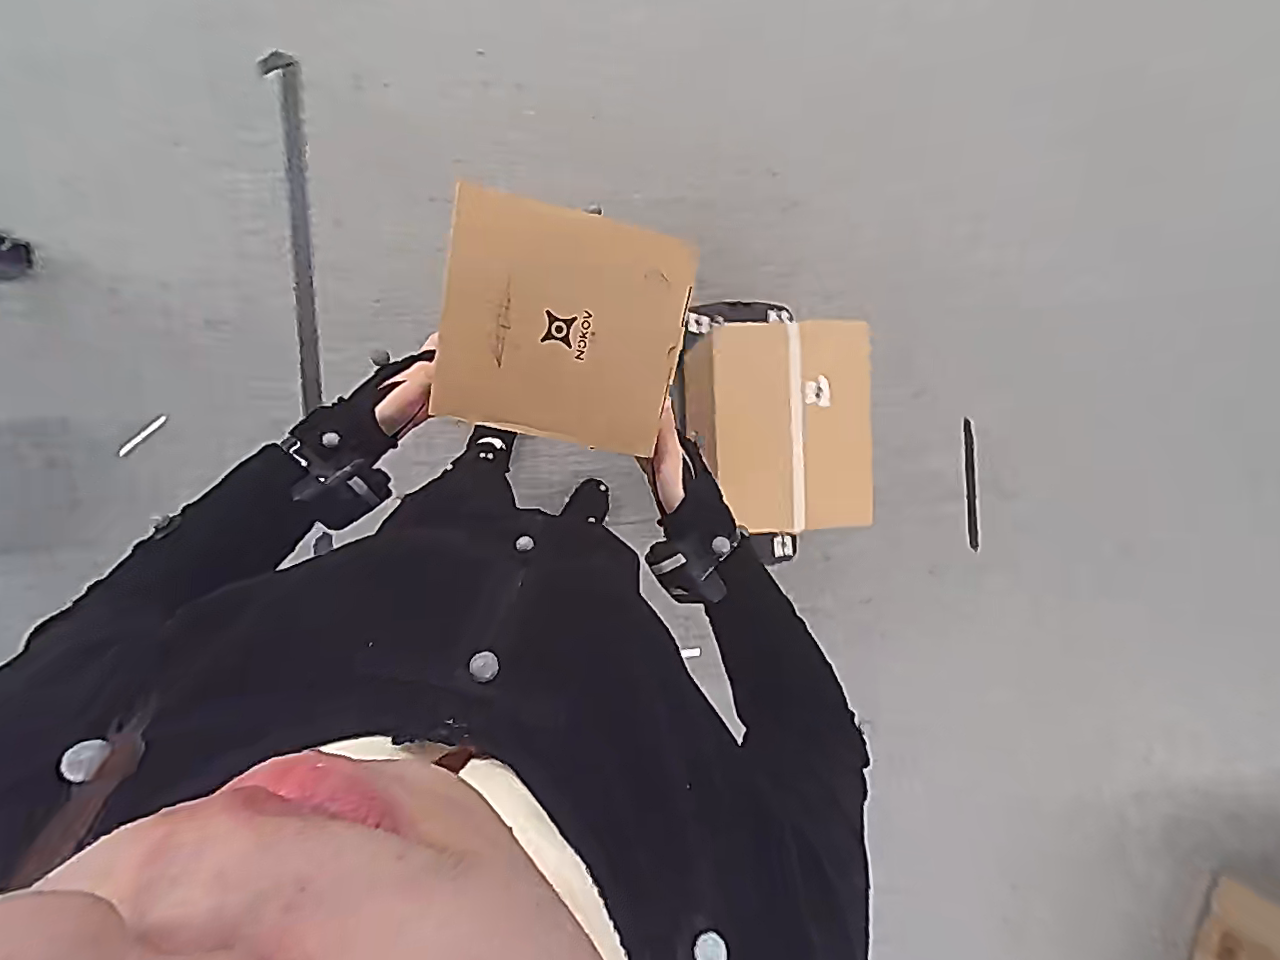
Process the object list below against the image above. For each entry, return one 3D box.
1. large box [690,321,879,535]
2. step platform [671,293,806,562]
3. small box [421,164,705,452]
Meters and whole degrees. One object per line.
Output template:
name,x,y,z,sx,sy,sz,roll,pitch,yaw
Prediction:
large box,0.291,-0.103,1.179,0.320,0.320,0.408,-2,91,-6
step platform,0.252,-0.129,1.414,0.286,0.204,0.684,3,91,-5
small box,-0.065,-0.135,0.458,0.179,0.176,0.168,11,104,-9
